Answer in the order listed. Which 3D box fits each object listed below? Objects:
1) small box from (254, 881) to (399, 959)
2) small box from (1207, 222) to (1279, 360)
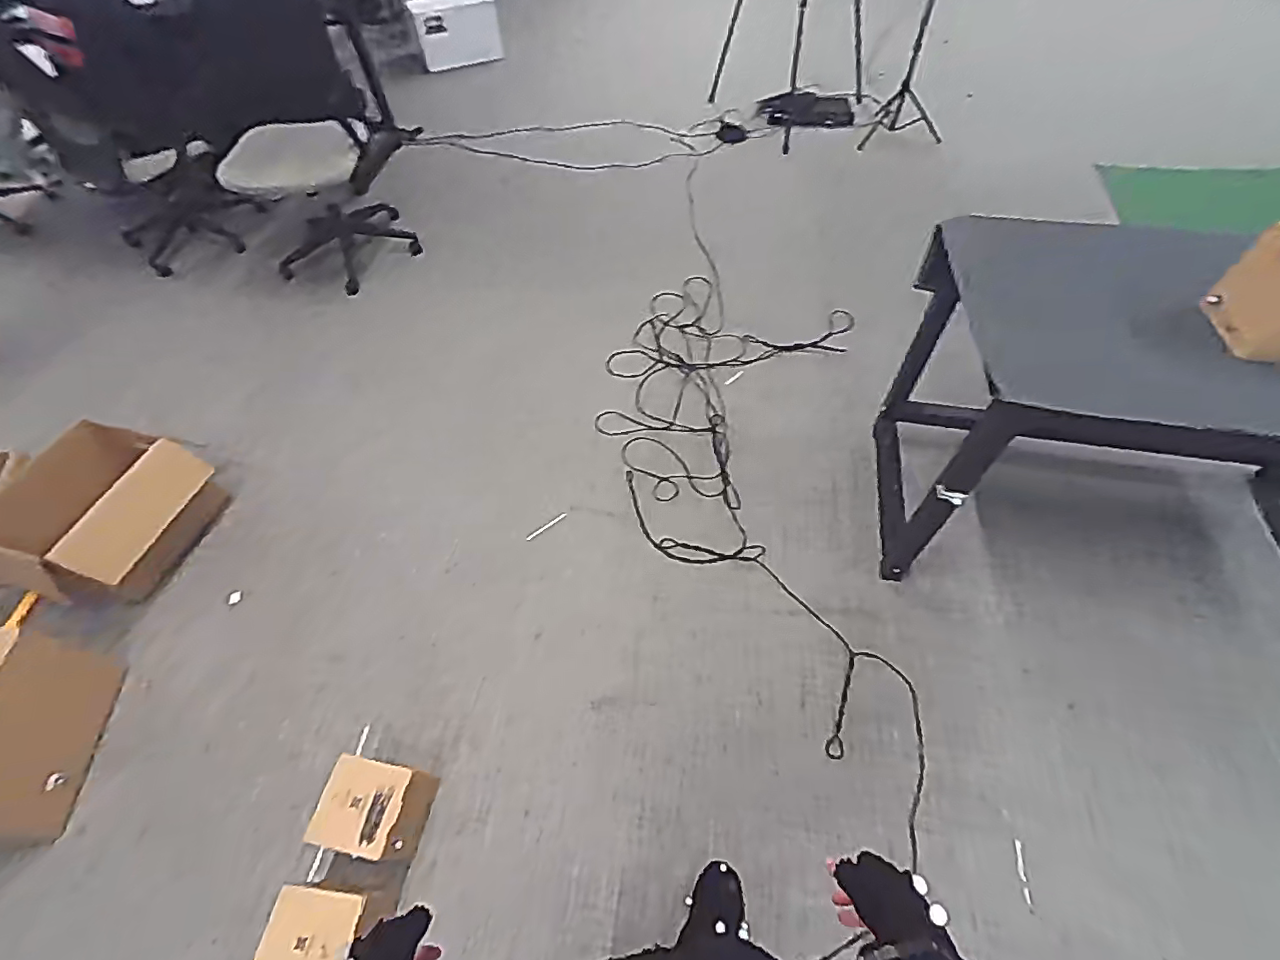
[{"bbox_3d":[-0.617,0.906,1.067,0.179,0.176,0.168,4,56,6],"label":"small box"},{"bbox_3d":[1.143,-0.316,0.924,0.179,0.176,0.168,6,56,7],"label":"small box"}]
